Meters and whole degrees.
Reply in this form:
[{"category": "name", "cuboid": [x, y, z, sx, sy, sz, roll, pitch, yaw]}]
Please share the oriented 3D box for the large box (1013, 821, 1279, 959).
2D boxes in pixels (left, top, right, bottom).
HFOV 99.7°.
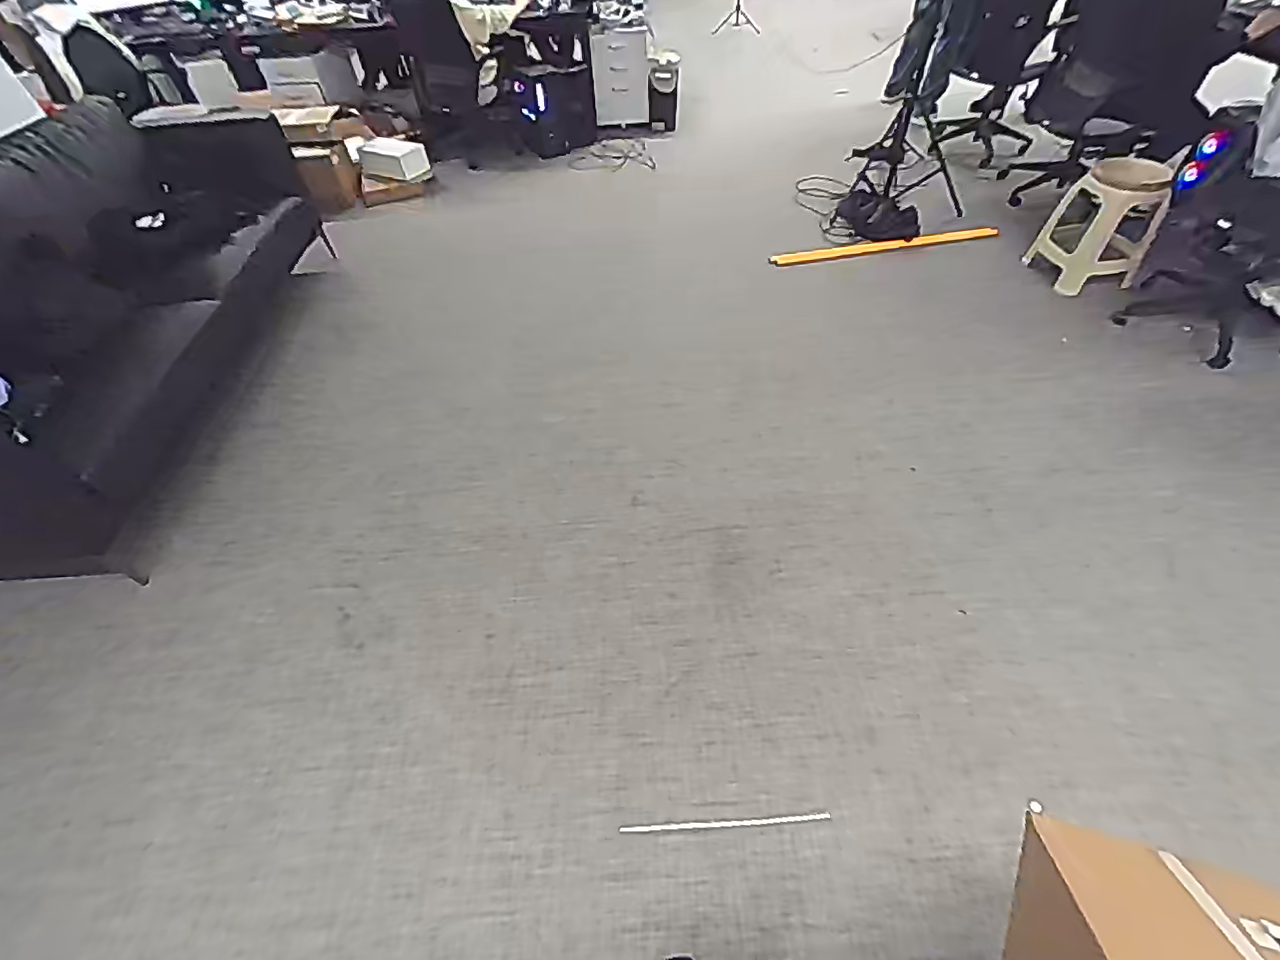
[{"category": "large box", "cuboid": [0.628, 0.667, 0.562, 0.320, 0.408, 0.320, 10, 92, 21]}]
